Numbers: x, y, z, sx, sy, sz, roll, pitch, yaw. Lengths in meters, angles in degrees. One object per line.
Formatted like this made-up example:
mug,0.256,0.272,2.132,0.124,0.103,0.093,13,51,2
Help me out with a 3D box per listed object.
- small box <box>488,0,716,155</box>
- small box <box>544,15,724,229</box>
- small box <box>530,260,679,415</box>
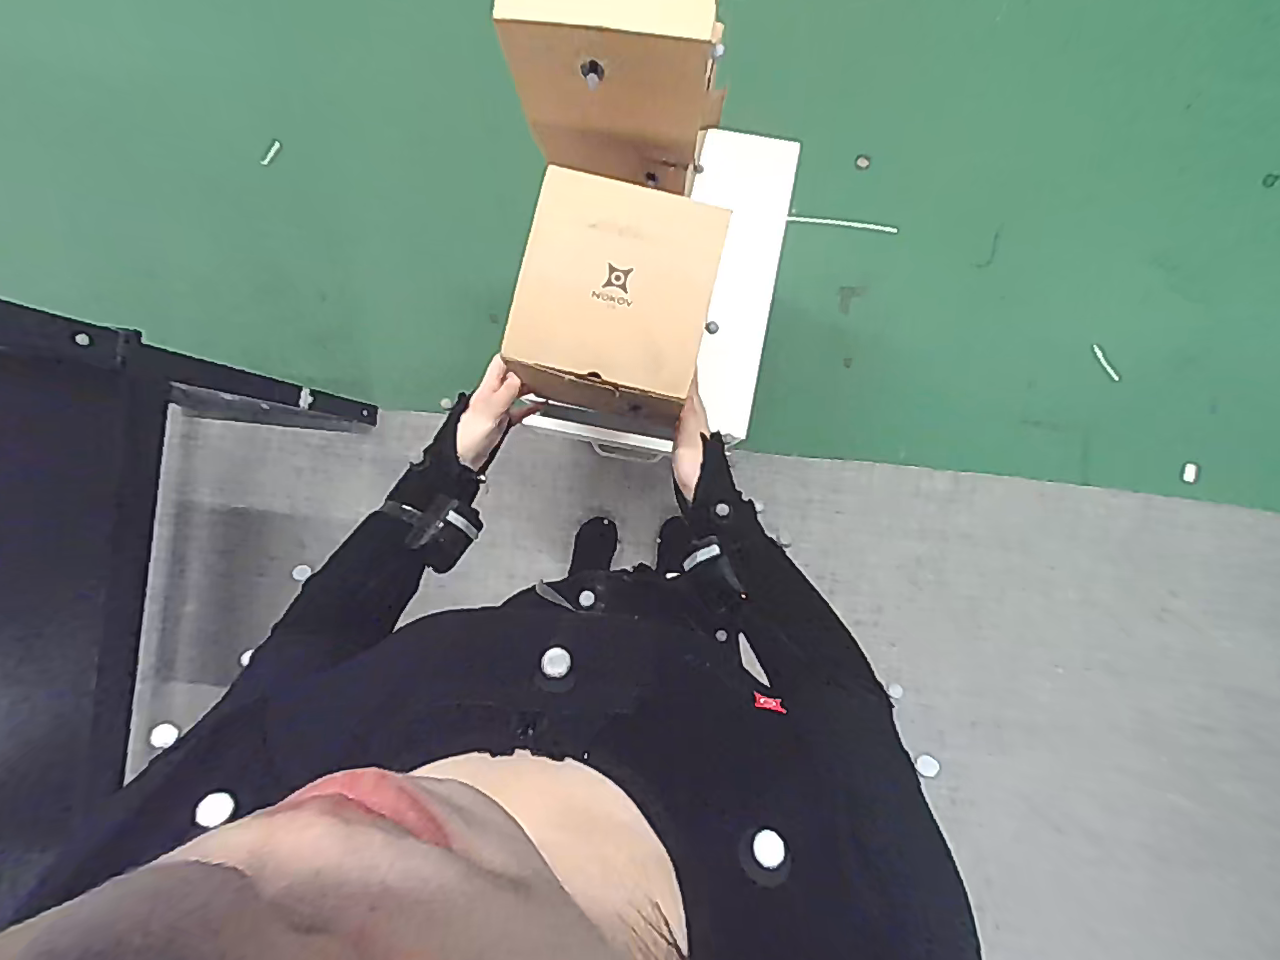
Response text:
small box,-0.021,-0.429,0.492,0.179,0.176,0.168,7,91,0
small box,-0.012,-0.434,0.656,0.179,0.176,0.168,14,90,0
small box,-0.048,-0.203,0.817,0.179,0.176,0.168,13,89,0
